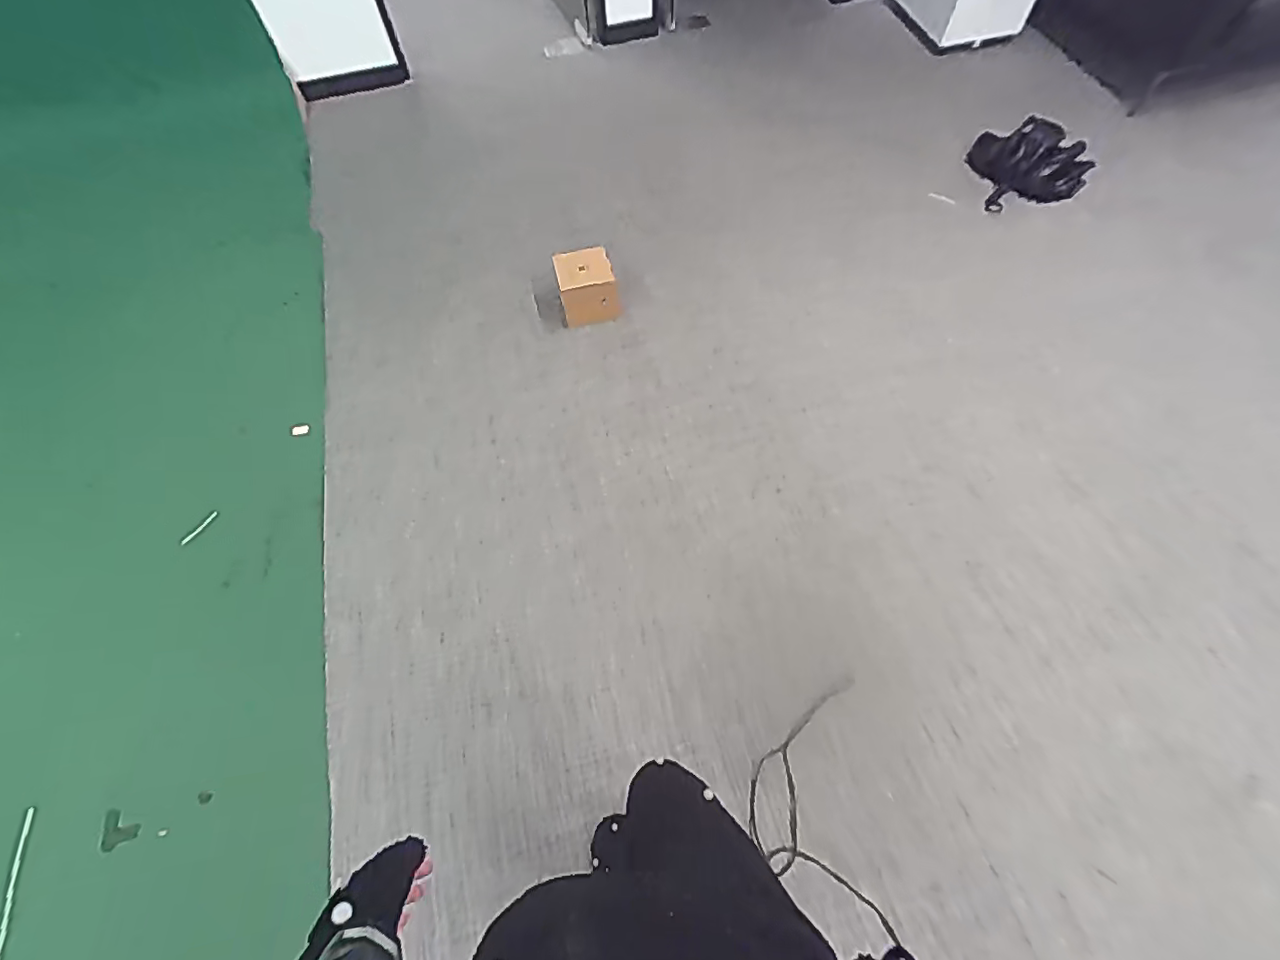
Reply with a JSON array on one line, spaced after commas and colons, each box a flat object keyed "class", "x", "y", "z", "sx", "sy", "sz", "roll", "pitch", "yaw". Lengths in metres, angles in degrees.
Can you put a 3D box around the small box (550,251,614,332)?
[{"class": "small box", "x": -0.186, "y": -0.621, "z": 1.792, "sx": 0.179, "sy": 0.176, "sz": 0.168, "roll": -15, "pitch": 63, "yaw": -4}]
